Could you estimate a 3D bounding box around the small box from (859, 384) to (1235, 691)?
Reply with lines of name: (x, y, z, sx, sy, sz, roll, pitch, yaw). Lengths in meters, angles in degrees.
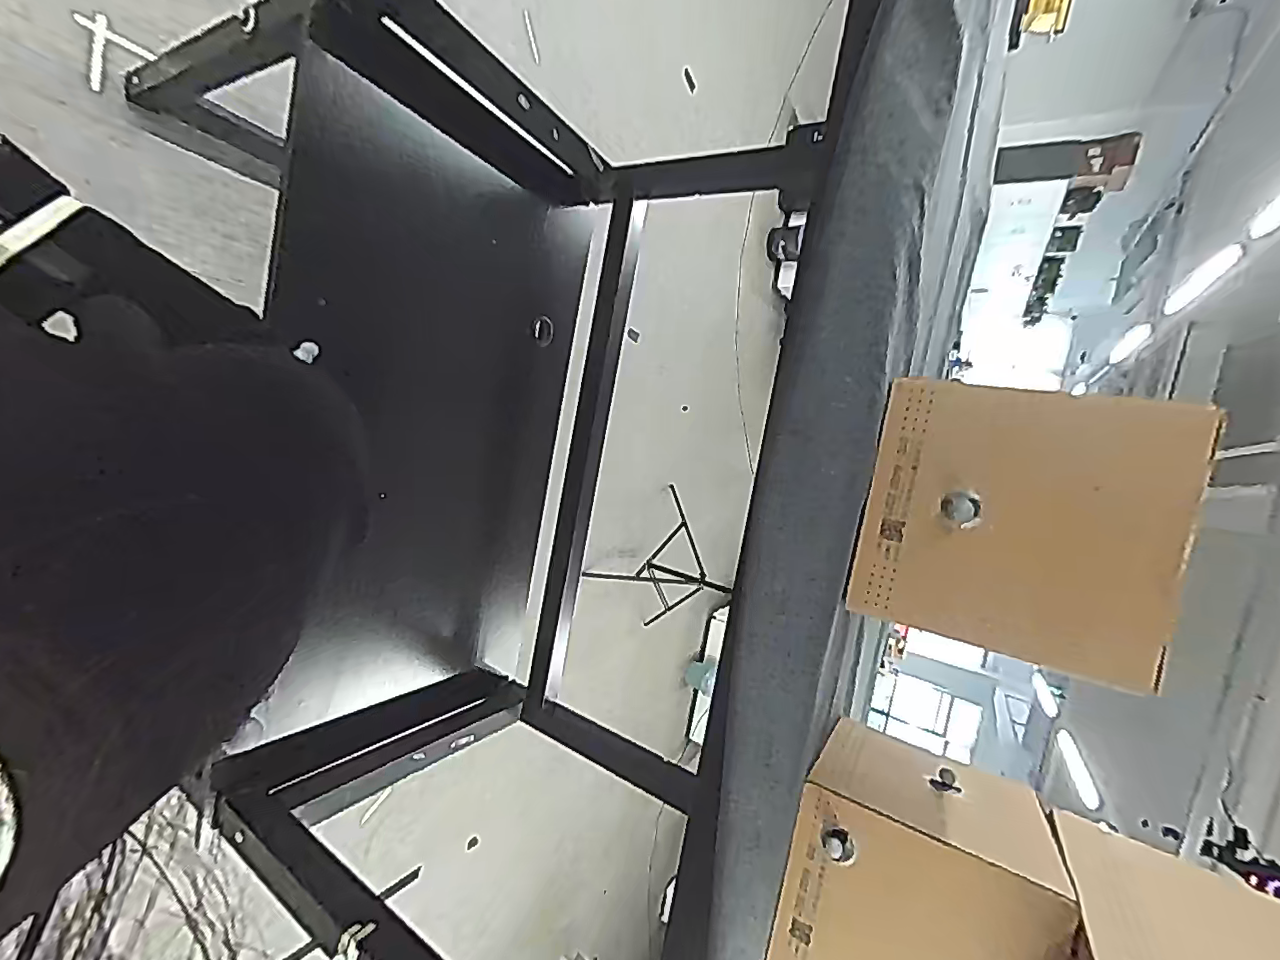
small box: (0.276, 0.028, 0.410, 0.179, 0.176, 0.168, 5, 96, -62)

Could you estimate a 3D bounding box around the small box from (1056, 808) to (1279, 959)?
small box: (0.346, 0.350, 0.328, 0.179, 0.176, 0.168, -1, 103, -61)

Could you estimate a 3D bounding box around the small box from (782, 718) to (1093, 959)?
small box: (0.224, 0.322, 0.435, 0.179, 0.176, 0.168, 12, 90, -62)
